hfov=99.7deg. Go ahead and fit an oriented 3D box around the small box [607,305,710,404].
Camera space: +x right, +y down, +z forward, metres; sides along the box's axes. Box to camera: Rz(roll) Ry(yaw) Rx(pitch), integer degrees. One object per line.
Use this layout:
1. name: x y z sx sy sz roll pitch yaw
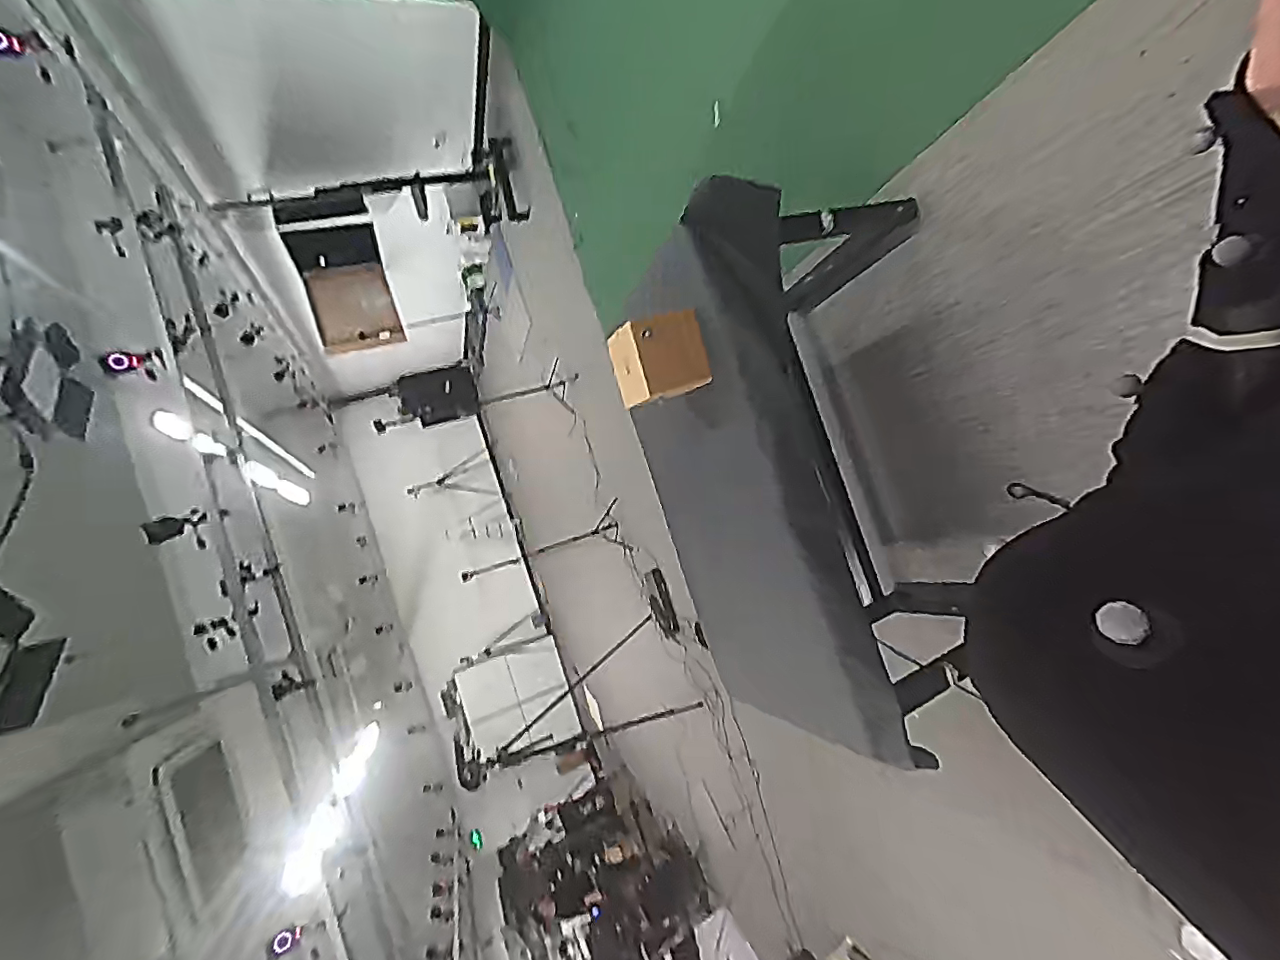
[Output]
1. small box: 0.045 -0.295 1.277 0.168 0.176 0.179 -6 101 69
